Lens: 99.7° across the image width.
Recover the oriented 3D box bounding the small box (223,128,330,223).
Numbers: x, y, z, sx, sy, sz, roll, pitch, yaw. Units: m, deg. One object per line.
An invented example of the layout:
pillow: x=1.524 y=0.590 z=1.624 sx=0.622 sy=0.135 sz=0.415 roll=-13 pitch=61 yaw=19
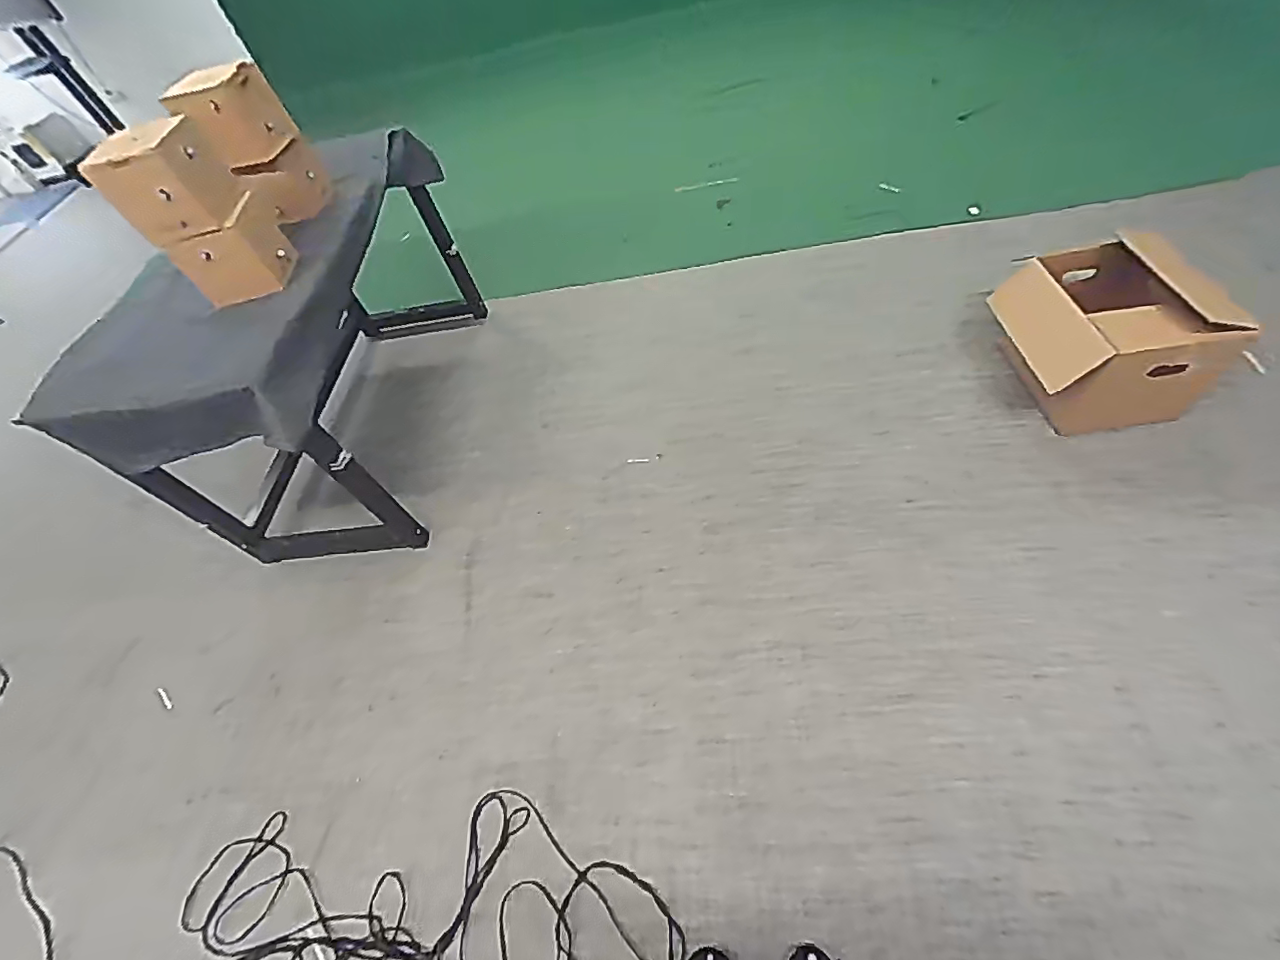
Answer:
small box: x=-1.003 y=-0.834 z=1.494 sx=0.179 sy=0.176 sz=0.168 roll=-5 pitch=54 yaw=8

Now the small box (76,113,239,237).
small box: x=-1.010 y=-0.641 z=1.154 sx=0.168 sy=0.176 sz=0.179 roll=-10 pitch=53 yaw=4

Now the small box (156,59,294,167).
small box: x=-1.021 y=-0.908 z=1.347 sx=0.179 sy=0.176 sz=0.168 roll=-3 pitch=55 yaw=10

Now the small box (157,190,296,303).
small box: x=-0.966 y=-0.547 z=1.280 sx=0.179 sy=0.176 sz=0.168 roll=-14 pitch=54 yaw=2
